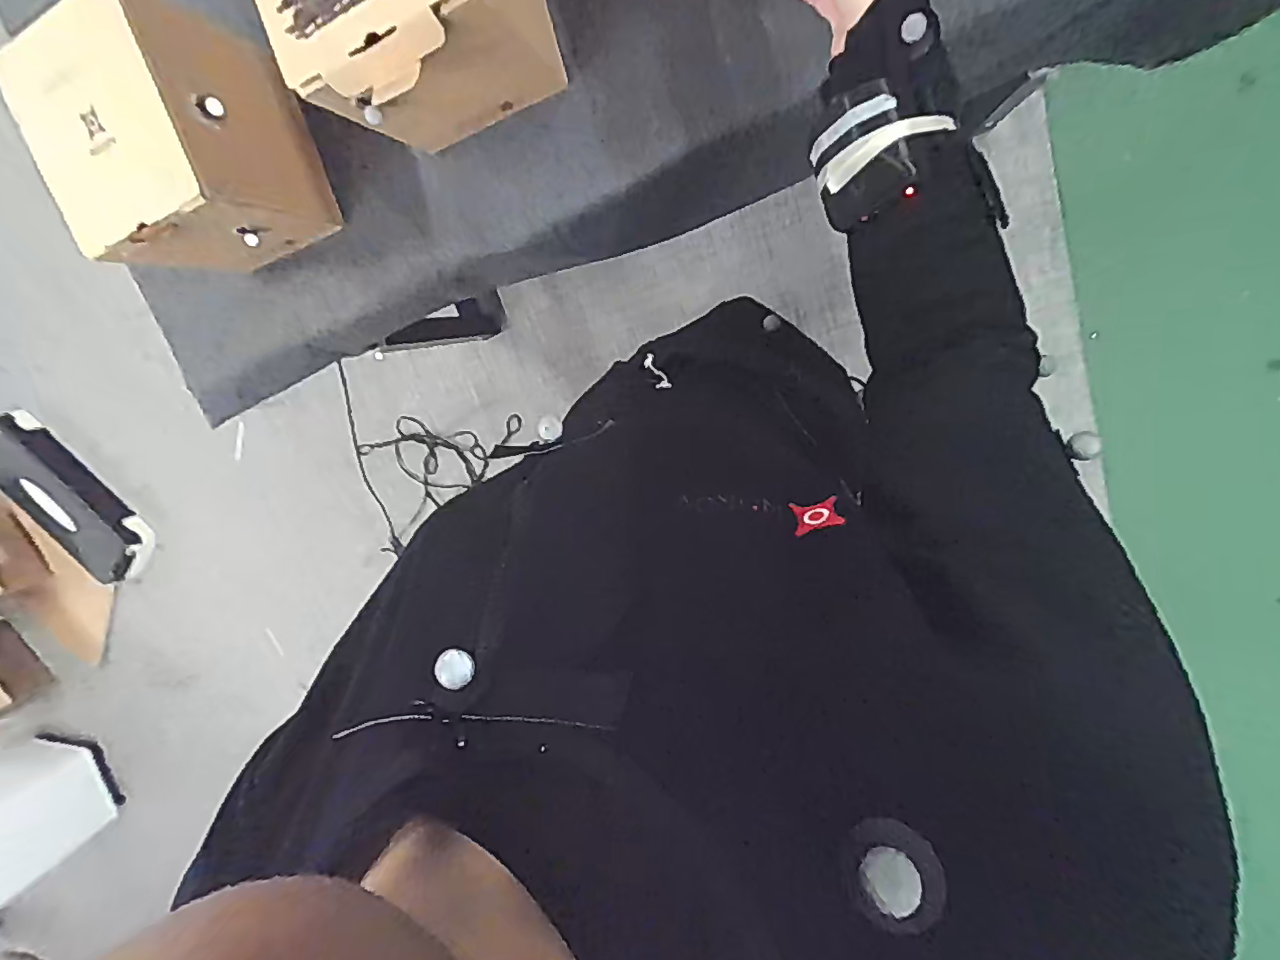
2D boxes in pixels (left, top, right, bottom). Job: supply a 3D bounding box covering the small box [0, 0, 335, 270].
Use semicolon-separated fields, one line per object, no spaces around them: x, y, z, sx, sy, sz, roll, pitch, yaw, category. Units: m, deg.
-0.448;-0.319;0.535;0.168;0.176;0.179;-13;102;17;small box
